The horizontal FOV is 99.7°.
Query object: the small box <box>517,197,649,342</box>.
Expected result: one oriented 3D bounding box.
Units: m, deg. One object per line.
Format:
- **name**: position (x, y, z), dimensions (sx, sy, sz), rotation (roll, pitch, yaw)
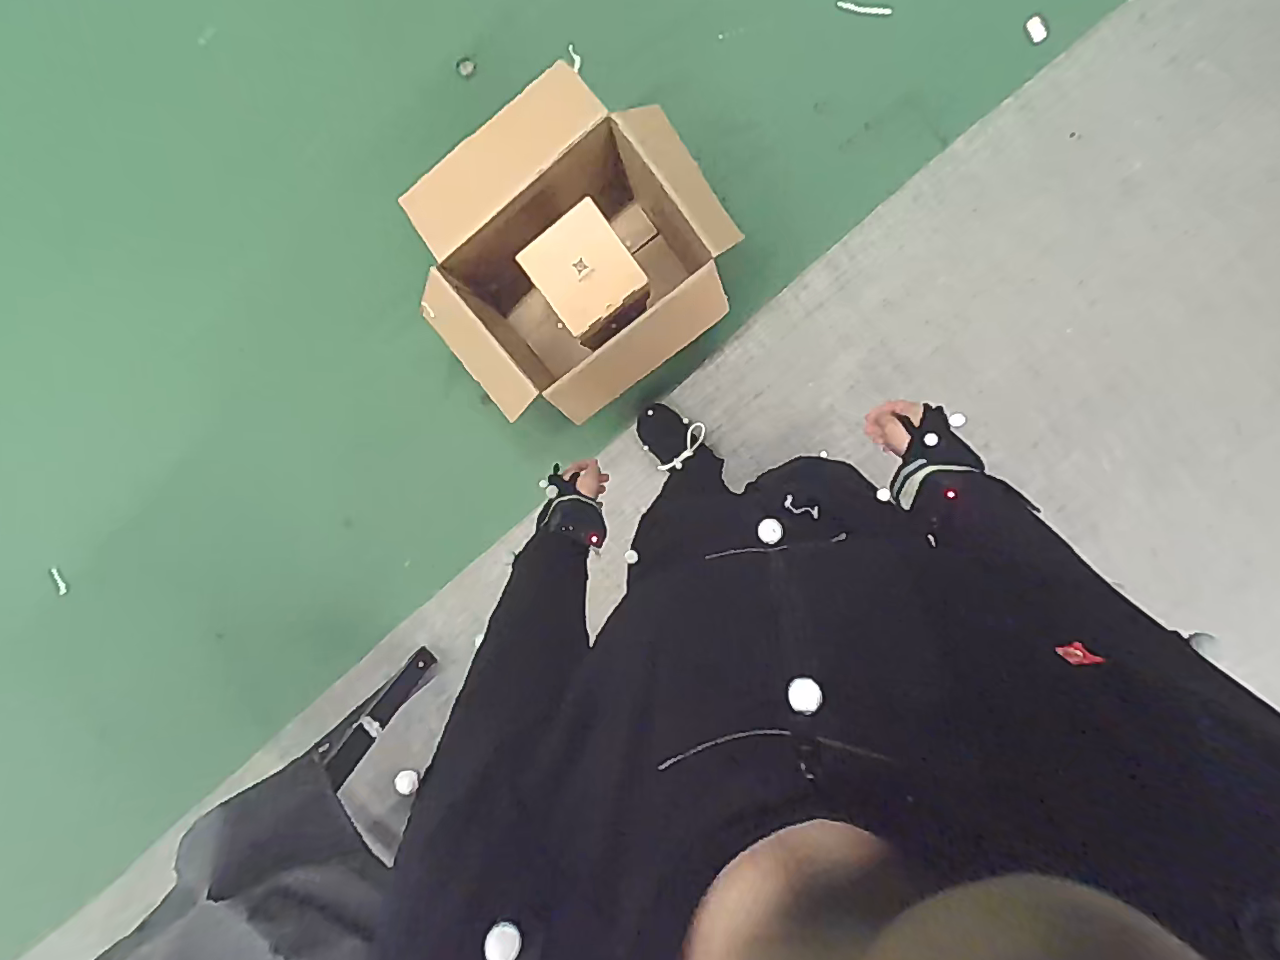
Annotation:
- **small box**: position (-0.099, -0.377, 1.010), dimensions (0.168, 0.176, 0.179), rotation (-37, 97, 6)
